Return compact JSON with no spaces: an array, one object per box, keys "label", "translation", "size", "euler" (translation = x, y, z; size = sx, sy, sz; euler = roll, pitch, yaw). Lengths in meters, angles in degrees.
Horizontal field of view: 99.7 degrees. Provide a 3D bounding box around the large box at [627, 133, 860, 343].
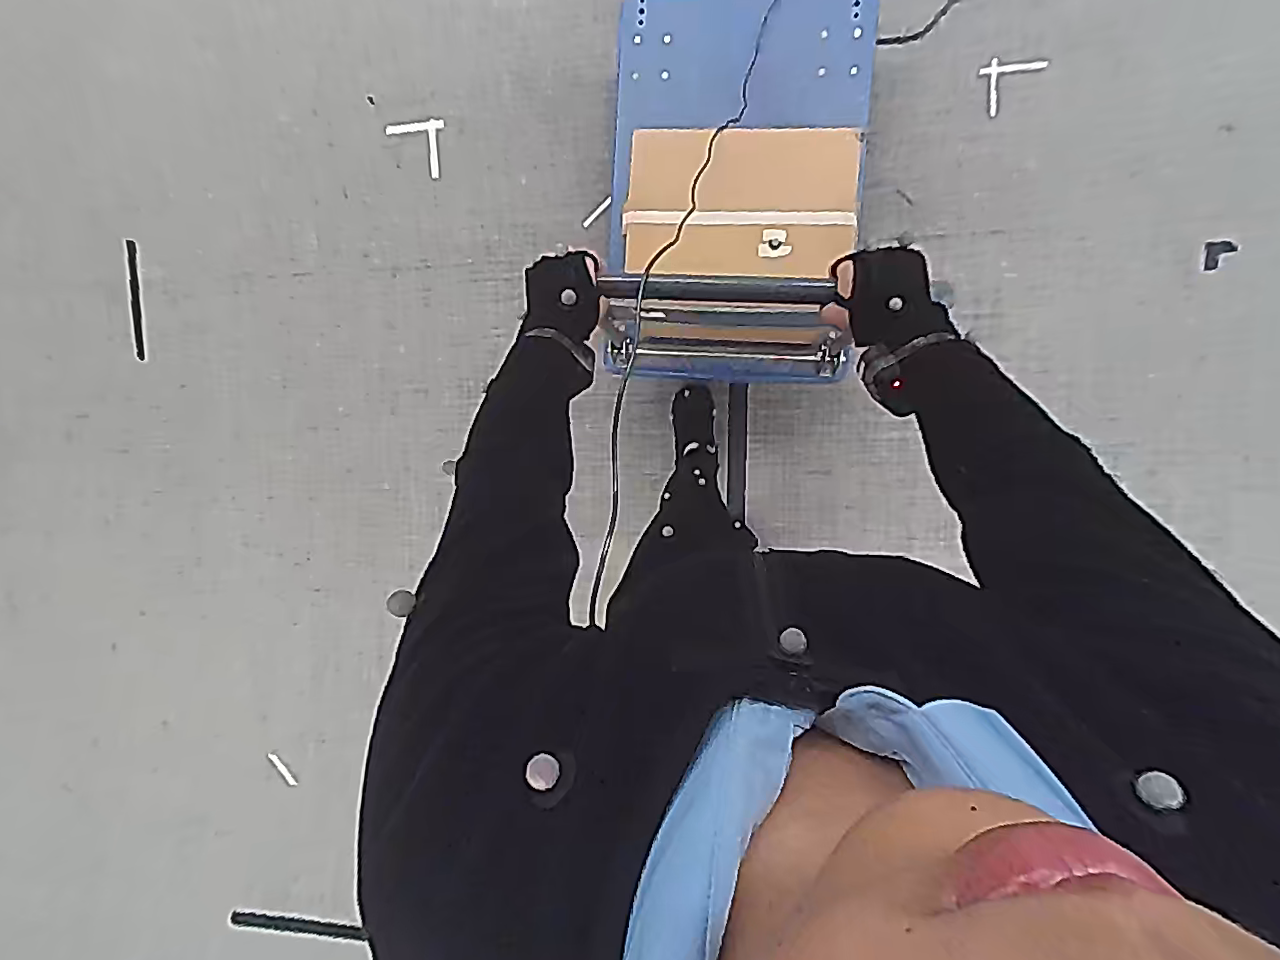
[{"label":"large box","translation":[0.193,-0.471,1.116],"size":[0.408,0.320,0.320],"euler":[4,95,6]}]
